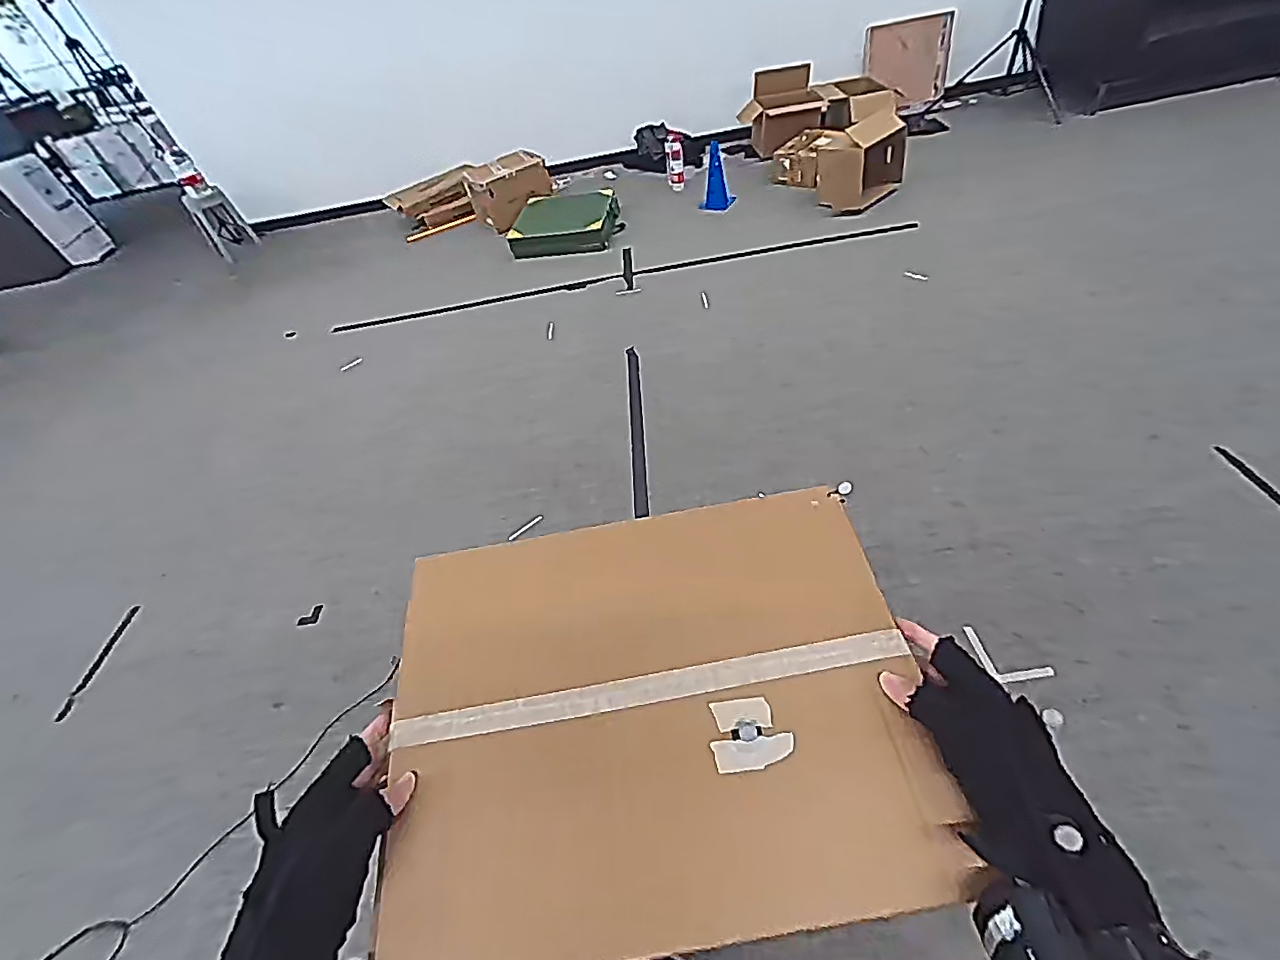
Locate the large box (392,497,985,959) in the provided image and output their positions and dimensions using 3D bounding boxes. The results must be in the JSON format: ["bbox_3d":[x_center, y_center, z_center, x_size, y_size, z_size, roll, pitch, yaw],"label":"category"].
[{"bbox_3d":[0.025,0.260,0.556,0.408,0.320,0.320,-10,54,0],"label":"large box"}]
